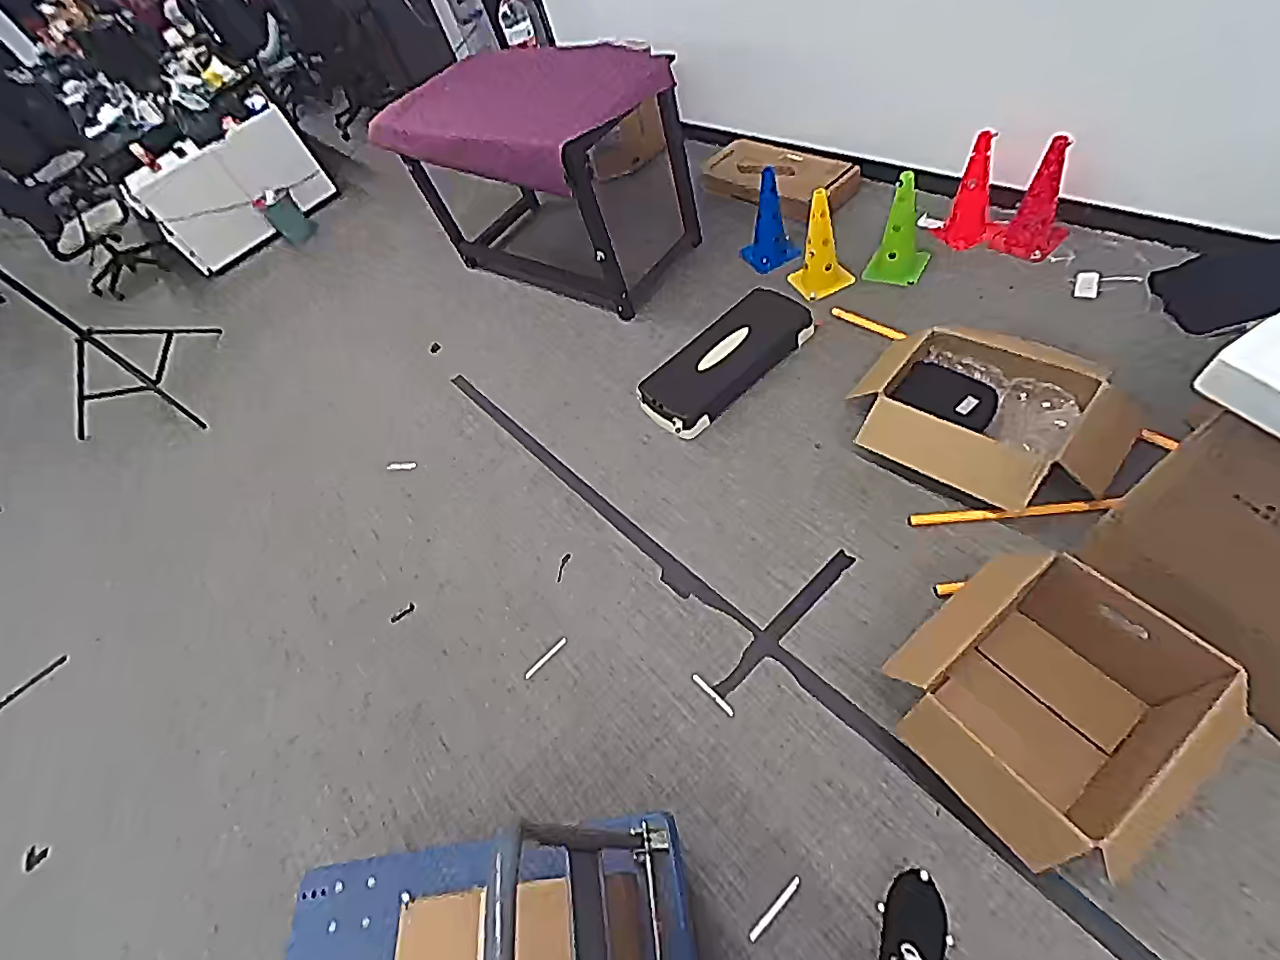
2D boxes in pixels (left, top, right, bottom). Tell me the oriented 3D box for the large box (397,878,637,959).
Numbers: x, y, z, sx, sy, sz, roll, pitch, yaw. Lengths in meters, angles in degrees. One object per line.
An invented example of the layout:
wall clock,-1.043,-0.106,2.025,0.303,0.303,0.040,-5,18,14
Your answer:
large box,-0.180,0.905,0.861,0.320,0.320,0.408,-14,52,8
